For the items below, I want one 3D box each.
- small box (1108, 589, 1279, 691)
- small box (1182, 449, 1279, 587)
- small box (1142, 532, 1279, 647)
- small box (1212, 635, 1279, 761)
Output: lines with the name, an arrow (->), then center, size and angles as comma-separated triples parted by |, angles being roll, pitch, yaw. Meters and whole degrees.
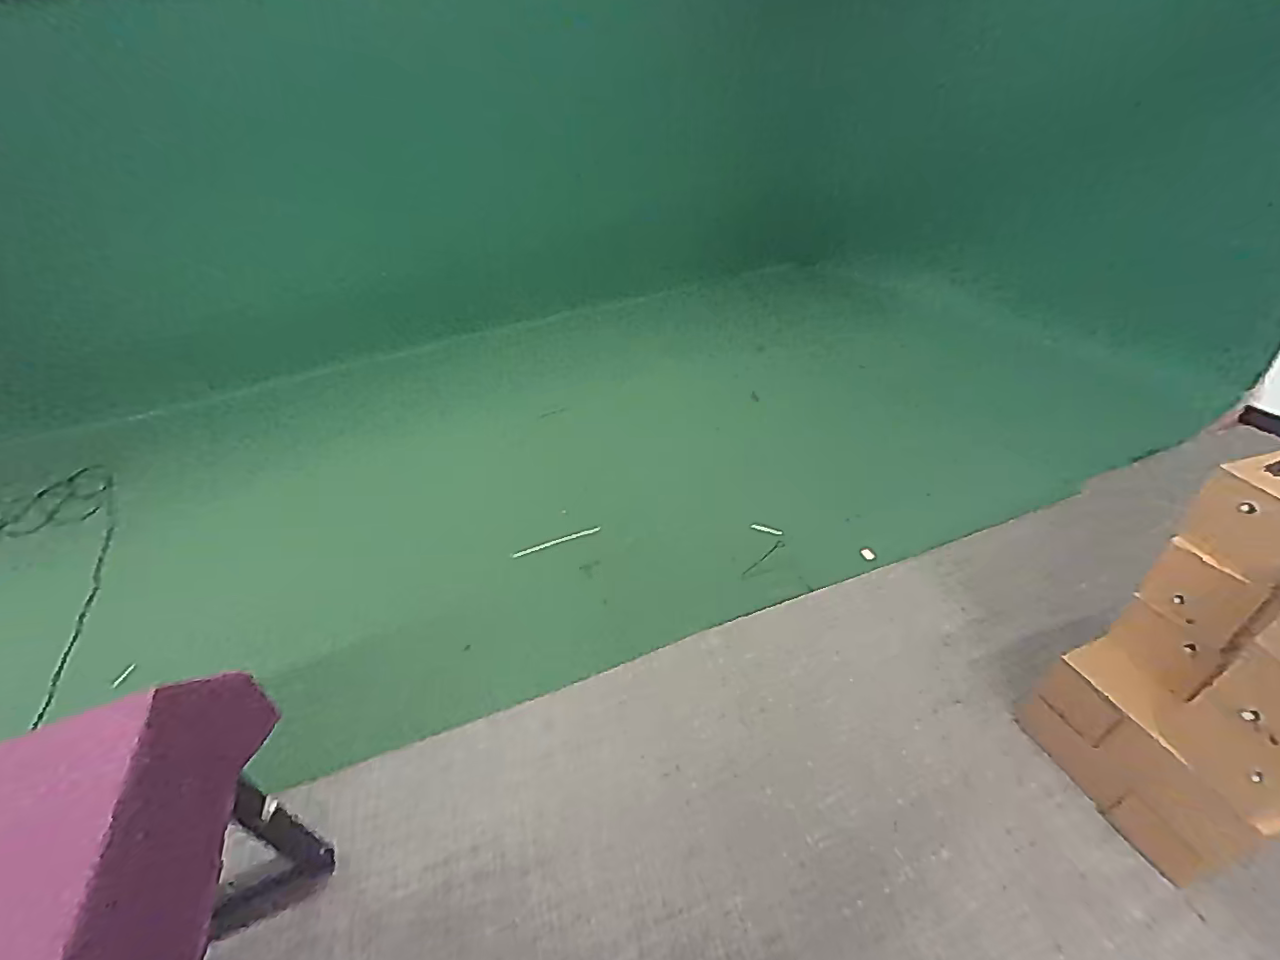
small box -> 1.193, 0.332, 1.178 | 0.168, 0.176, 0.179 | -16, 38, -13
small box -> 1.168, 0.068, 0.984 | 0.168, 0.176, 0.179 | -13, 38, -7
small box -> 1.176, 0.201, 1.082 | 0.179, 0.176, 0.168 | -16, 38, -11
small box -> 1.124, 0.356, 0.885 | 0.179, 0.176, 0.168 | -12, 38, -5
